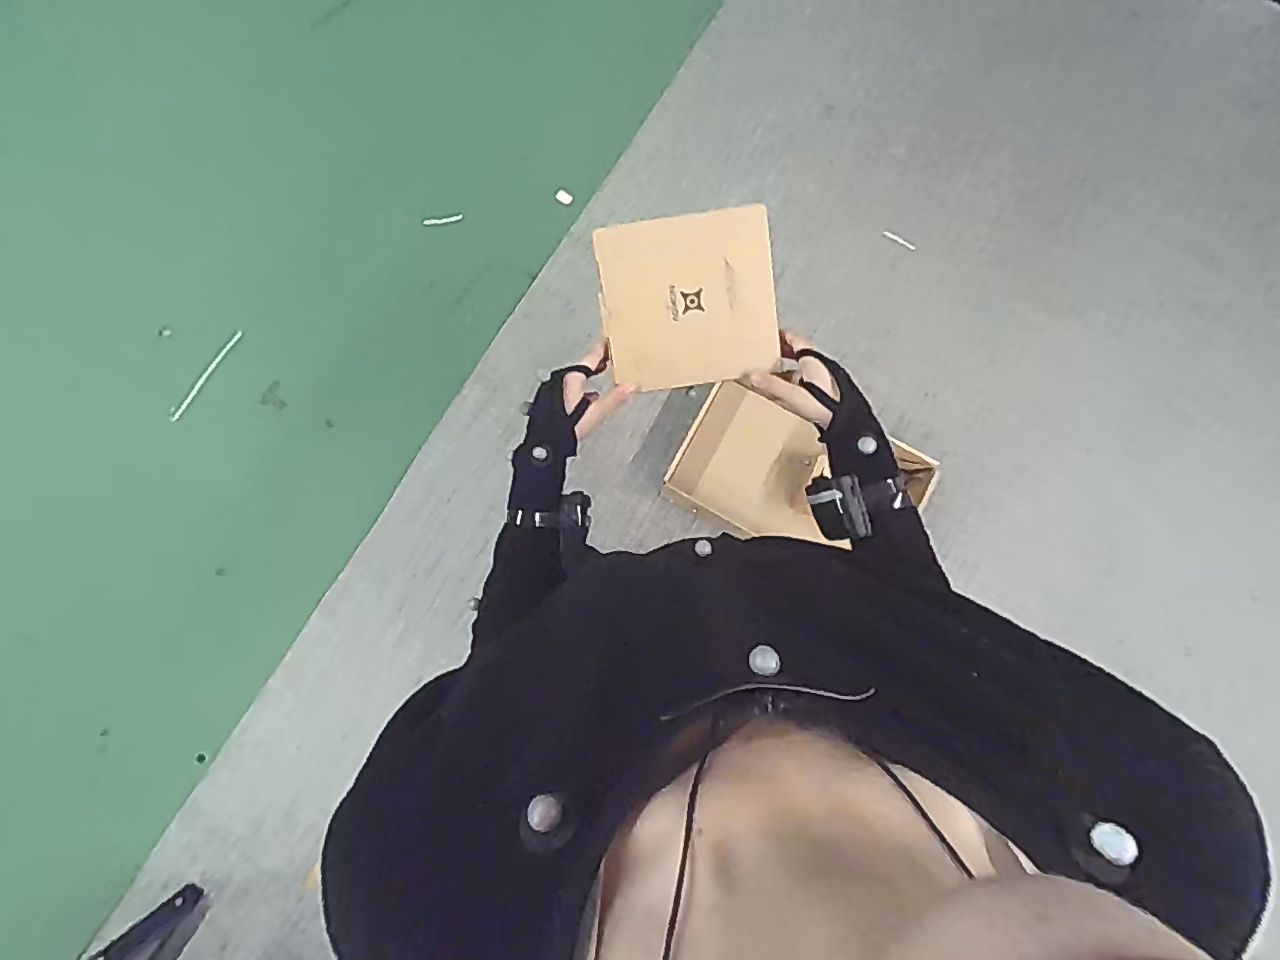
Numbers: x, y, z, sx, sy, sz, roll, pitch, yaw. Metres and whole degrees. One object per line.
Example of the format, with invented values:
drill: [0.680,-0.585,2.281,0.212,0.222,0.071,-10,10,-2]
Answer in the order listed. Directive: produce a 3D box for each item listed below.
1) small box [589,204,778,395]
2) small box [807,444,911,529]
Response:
small box: [0.048,-0.191,0.624,0.179,0.176,0.168,-9,98,3]
small box: [0.562,0.026,1.414,0.179,0.176,0.168,23,84,3]
